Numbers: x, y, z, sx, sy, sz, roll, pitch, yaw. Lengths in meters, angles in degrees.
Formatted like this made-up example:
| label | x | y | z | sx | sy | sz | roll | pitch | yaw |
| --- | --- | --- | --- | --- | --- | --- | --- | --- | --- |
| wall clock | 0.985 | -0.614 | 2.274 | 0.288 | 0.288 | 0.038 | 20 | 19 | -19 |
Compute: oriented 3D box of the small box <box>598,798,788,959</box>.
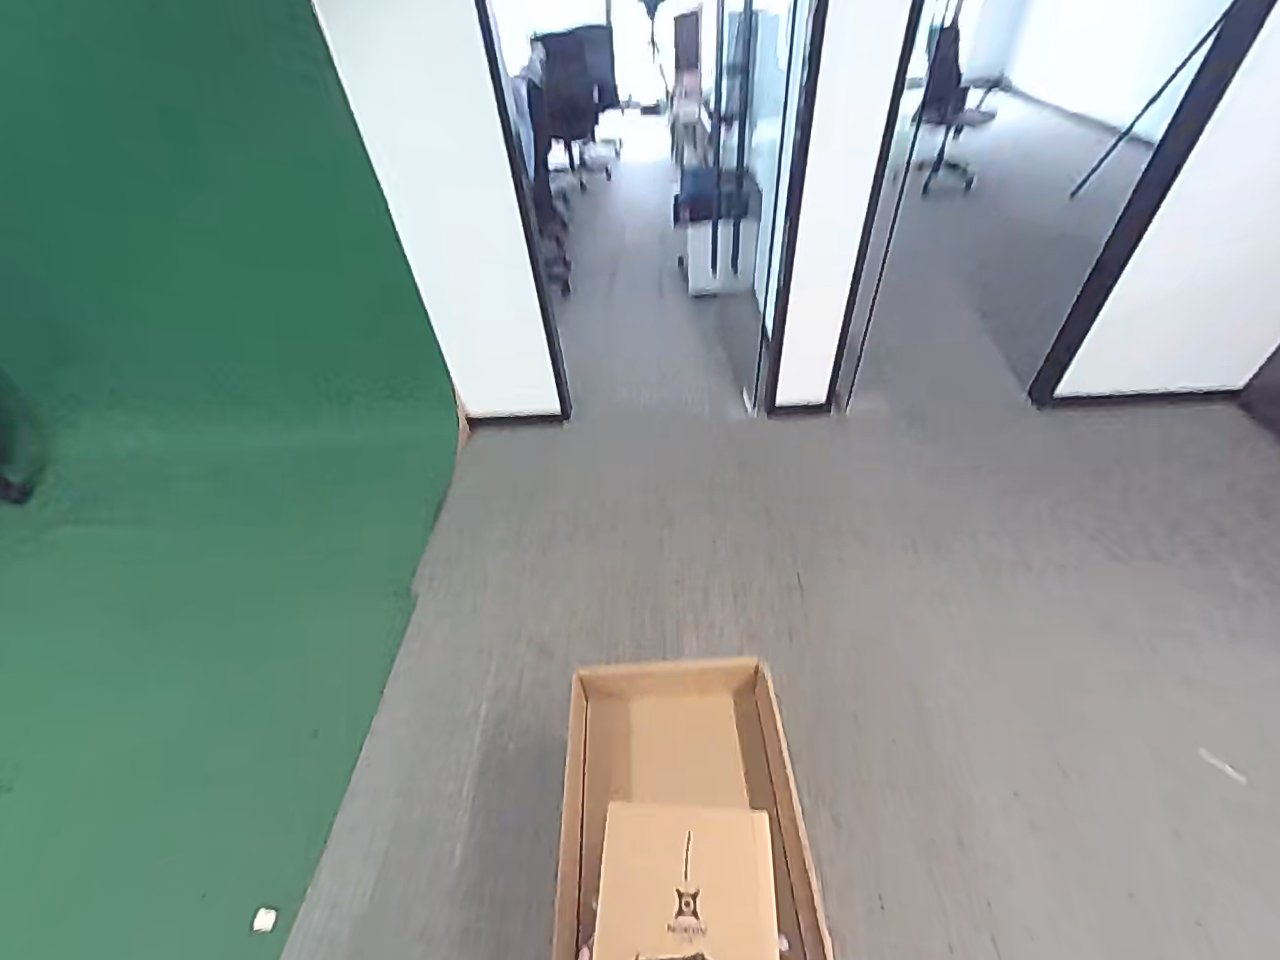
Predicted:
| label | x | y | z | sx | sy | sz | roll | pitch | yaw |
| --- | --- | --- | --- | --- | --- | --- | --- | --- | --- |
| small box | 0.052 | 0.442 | 0.542 | 0.168 | 0.176 | 0.179 | 1 | 47 | 4 |
